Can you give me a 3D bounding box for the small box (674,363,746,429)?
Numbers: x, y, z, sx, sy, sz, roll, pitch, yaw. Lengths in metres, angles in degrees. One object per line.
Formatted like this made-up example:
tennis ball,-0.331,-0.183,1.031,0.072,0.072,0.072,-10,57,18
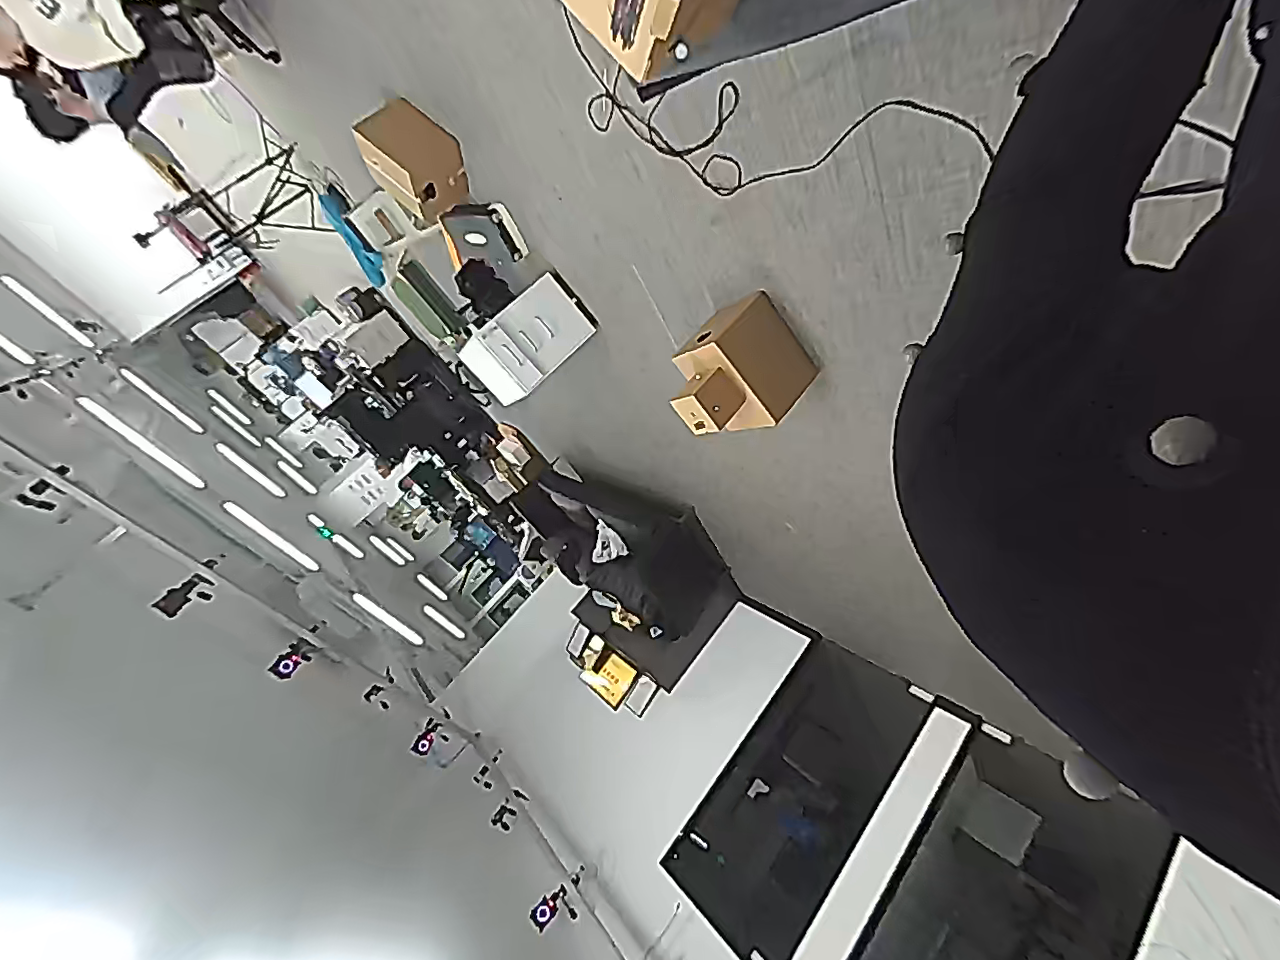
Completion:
small box,0.271,-0.316,2.057,0.179,0.176,0.168,49,159,-19
